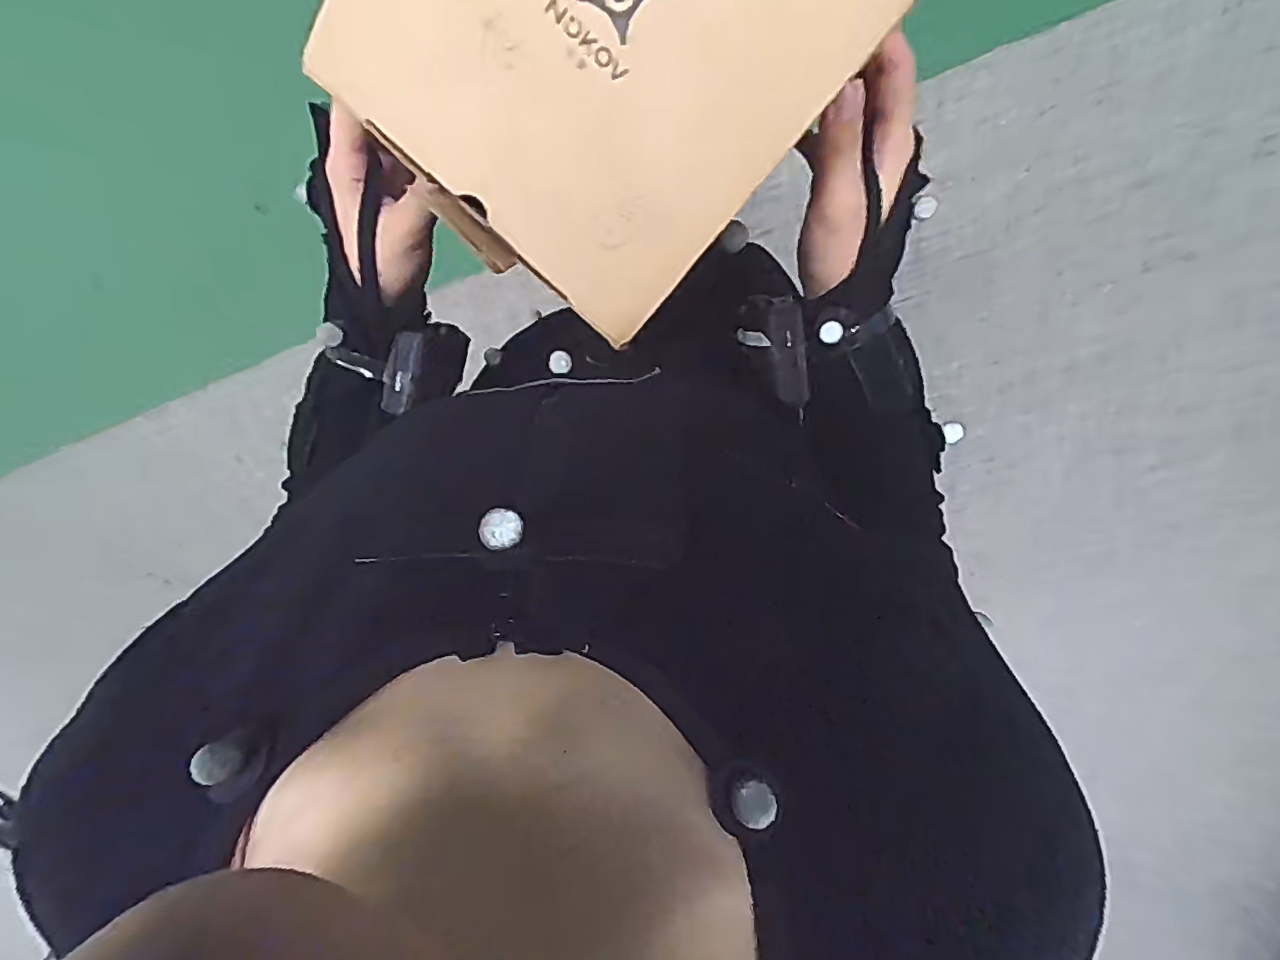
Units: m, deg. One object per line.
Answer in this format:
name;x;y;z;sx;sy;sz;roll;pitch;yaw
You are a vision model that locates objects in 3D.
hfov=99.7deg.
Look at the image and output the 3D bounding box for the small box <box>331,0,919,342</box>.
small box;-0.004;-0.199;0.279;0.168;0.176;0.179;39;110;-10
